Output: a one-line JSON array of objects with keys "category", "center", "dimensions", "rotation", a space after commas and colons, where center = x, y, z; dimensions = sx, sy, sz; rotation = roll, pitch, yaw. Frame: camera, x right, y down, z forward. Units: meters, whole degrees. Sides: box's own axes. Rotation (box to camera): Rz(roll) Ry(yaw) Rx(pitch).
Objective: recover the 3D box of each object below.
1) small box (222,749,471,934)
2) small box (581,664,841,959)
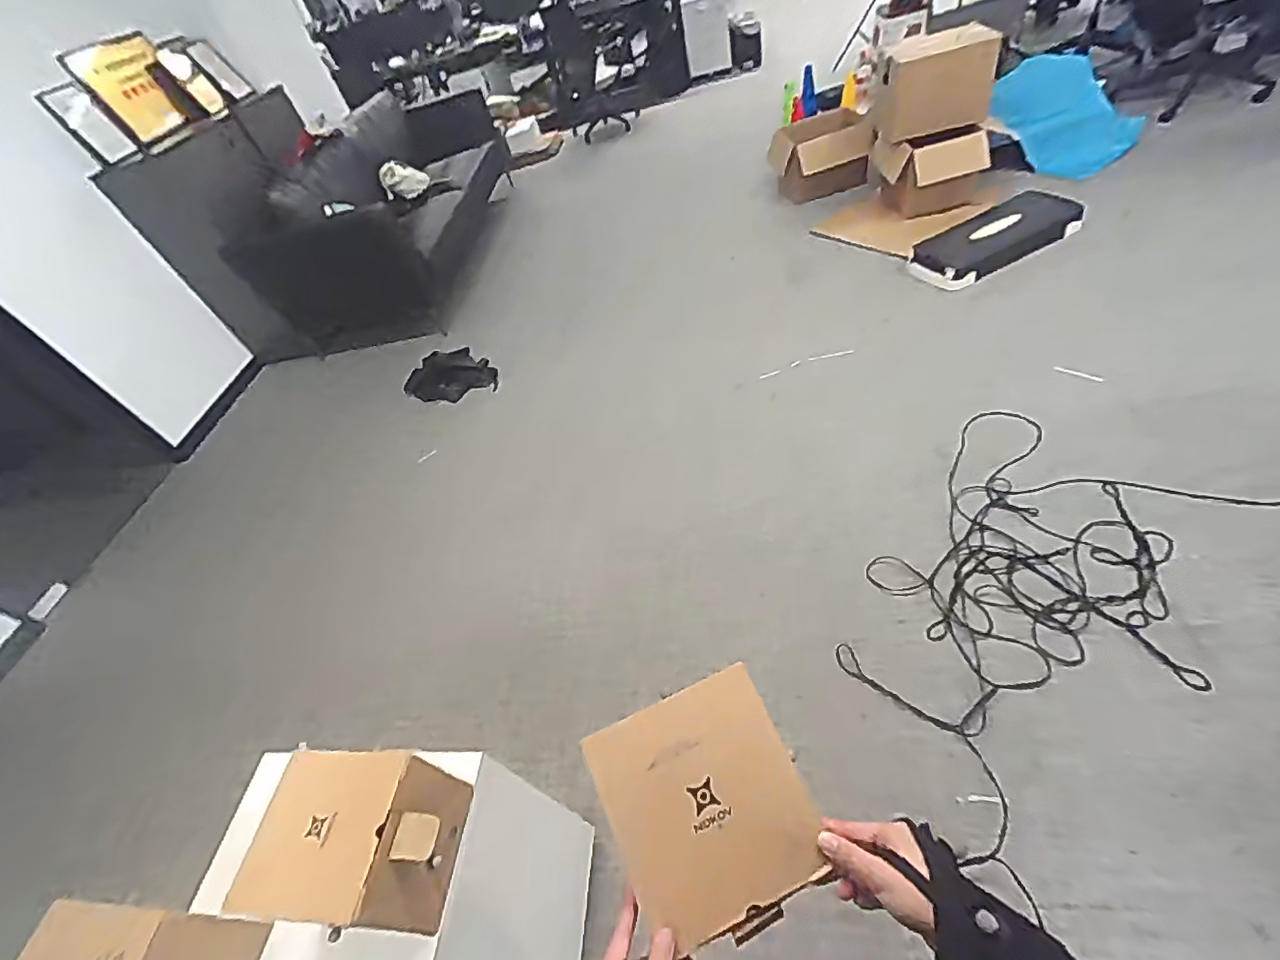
[{"category": "small box", "center": [-0.345, 0.449, 0.674], "dimensions": [0.179, 0.176, 0.168], "rotation": [-6, 47, 14]}, {"category": "small box", "center": [0.057, 0.302, 0.526], "dimensions": [0.168, 0.176, 0.179], "rotation": [-22, 66, -10]}]
